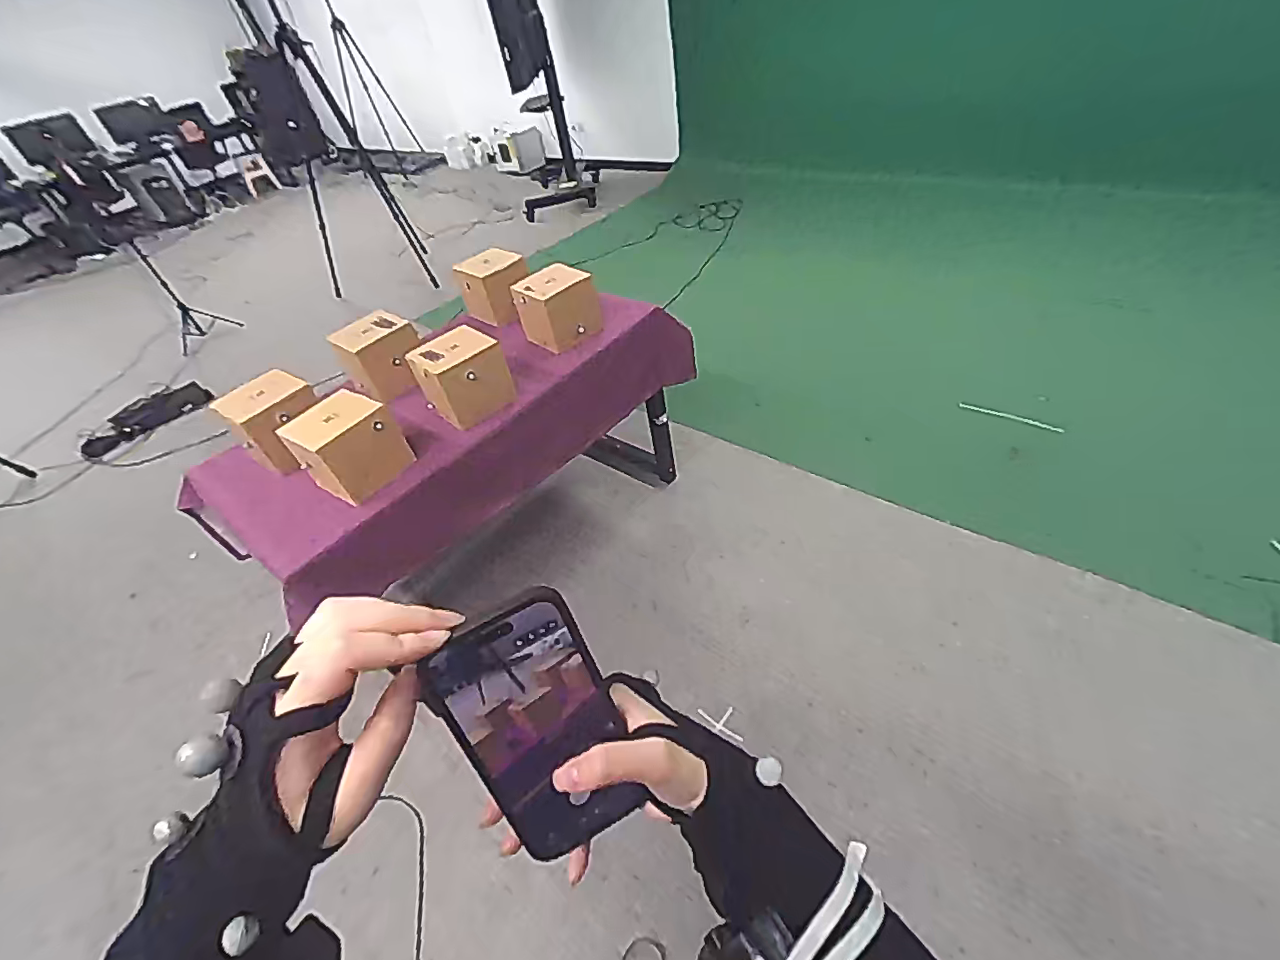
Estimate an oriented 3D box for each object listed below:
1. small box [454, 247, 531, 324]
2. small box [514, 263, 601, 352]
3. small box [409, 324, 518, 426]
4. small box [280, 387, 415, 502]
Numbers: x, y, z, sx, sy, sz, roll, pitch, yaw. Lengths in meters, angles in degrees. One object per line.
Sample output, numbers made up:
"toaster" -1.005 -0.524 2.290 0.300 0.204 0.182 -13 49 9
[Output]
"small box" -0.457 -0.623 1.733 0.179 0.176 0.168 30 58 34
"small box" -0.229 -0.497 1.558 0.179 0.176 0.168 -37 49 -25
"small box" -0.438 -0.263 1.360 0.179 0.176 0.168 -38 49 -26
"small box" -0.647 -0.079 1.215 0.168 0.176 0.179 20 51 29
